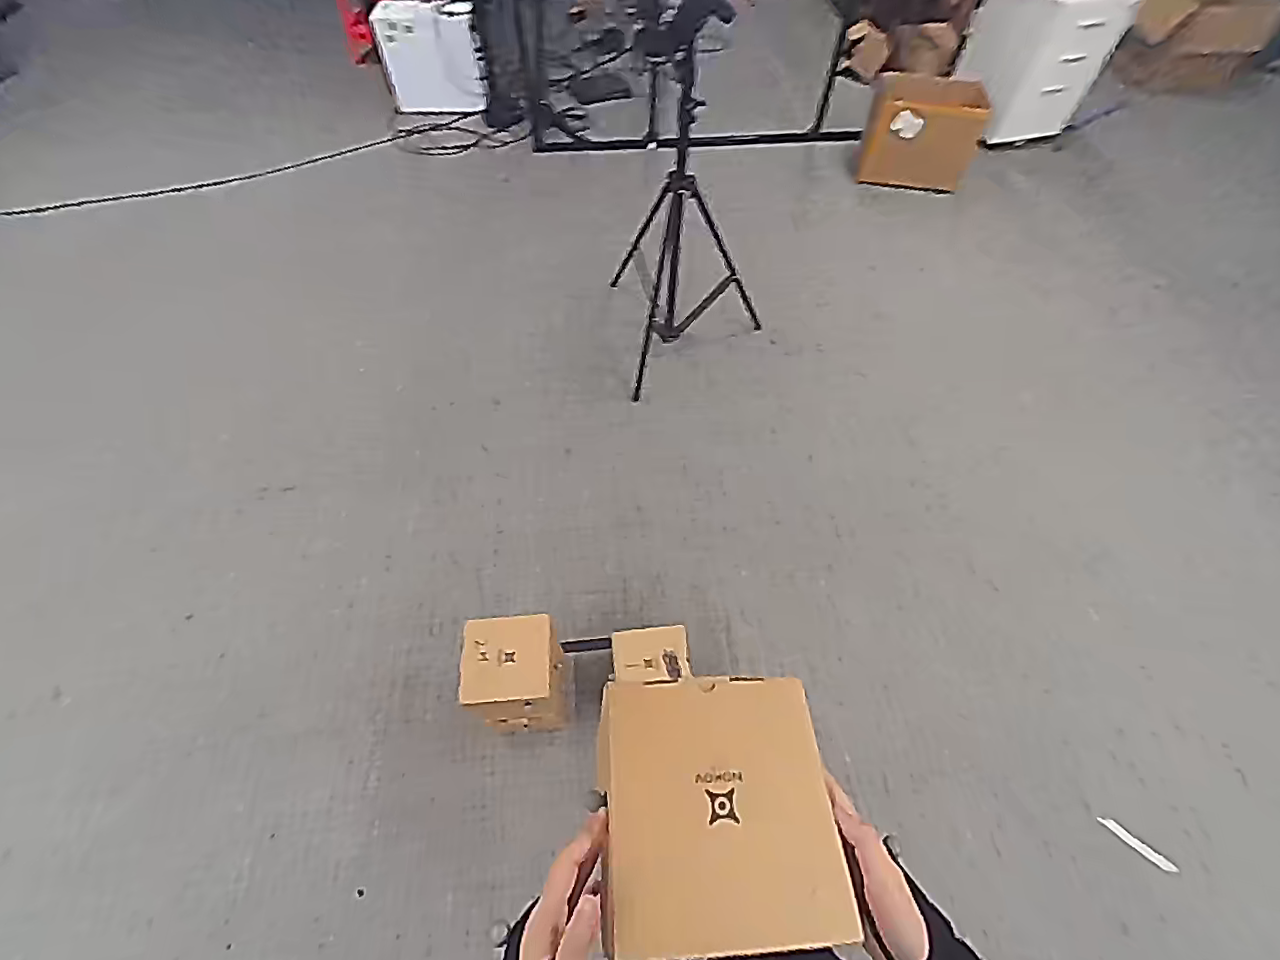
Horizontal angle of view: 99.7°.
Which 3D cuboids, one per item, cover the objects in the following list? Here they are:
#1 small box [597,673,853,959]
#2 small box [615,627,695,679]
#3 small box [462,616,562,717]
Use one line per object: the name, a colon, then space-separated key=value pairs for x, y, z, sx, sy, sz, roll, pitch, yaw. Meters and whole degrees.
small box: x=0.050 y=0.282 z=0.462 sx=0.168 sy=0.176 sz=0.179 roll=0 pitch=50 yaw=-7
small box: x=0.035 y=0.461 z=1.294 sx=0.179 sy=0.176 sz=0.168 roll=-5 pitch=58 yaw=-2
small box: x=-0.258 y=0.395 z=1.138 sx=0.179 sy=0.176 sz=0.168 roll=-4 pitch=58 yaw=-2
